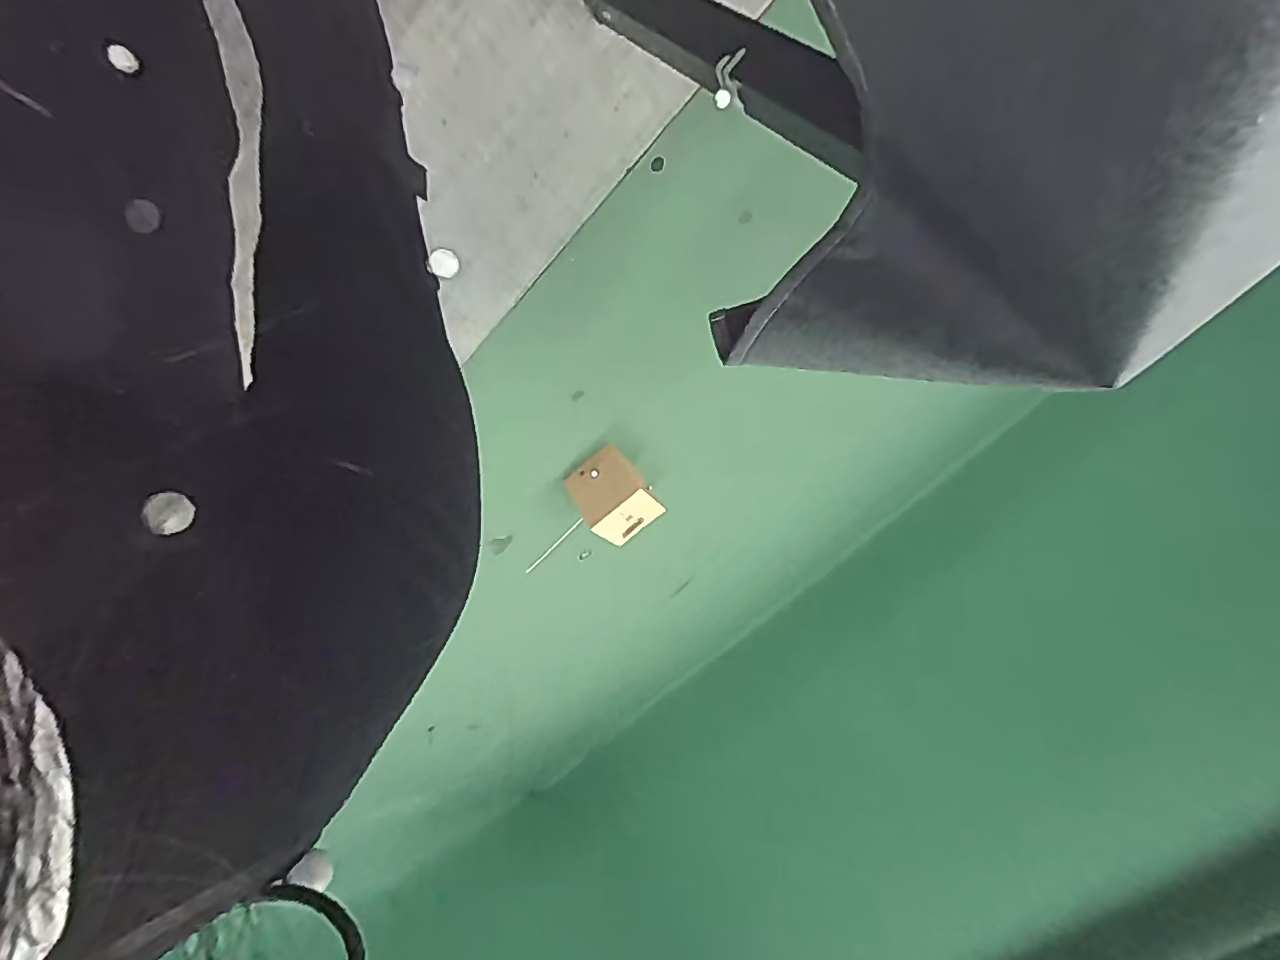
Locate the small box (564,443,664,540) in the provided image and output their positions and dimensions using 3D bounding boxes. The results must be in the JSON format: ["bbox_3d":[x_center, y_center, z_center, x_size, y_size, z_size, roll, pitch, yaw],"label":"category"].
[{"bbox_3d":[-0.068,0.029,1.427,0.168,0.176,0.179,-39,150,5],"label":"small box"}]
